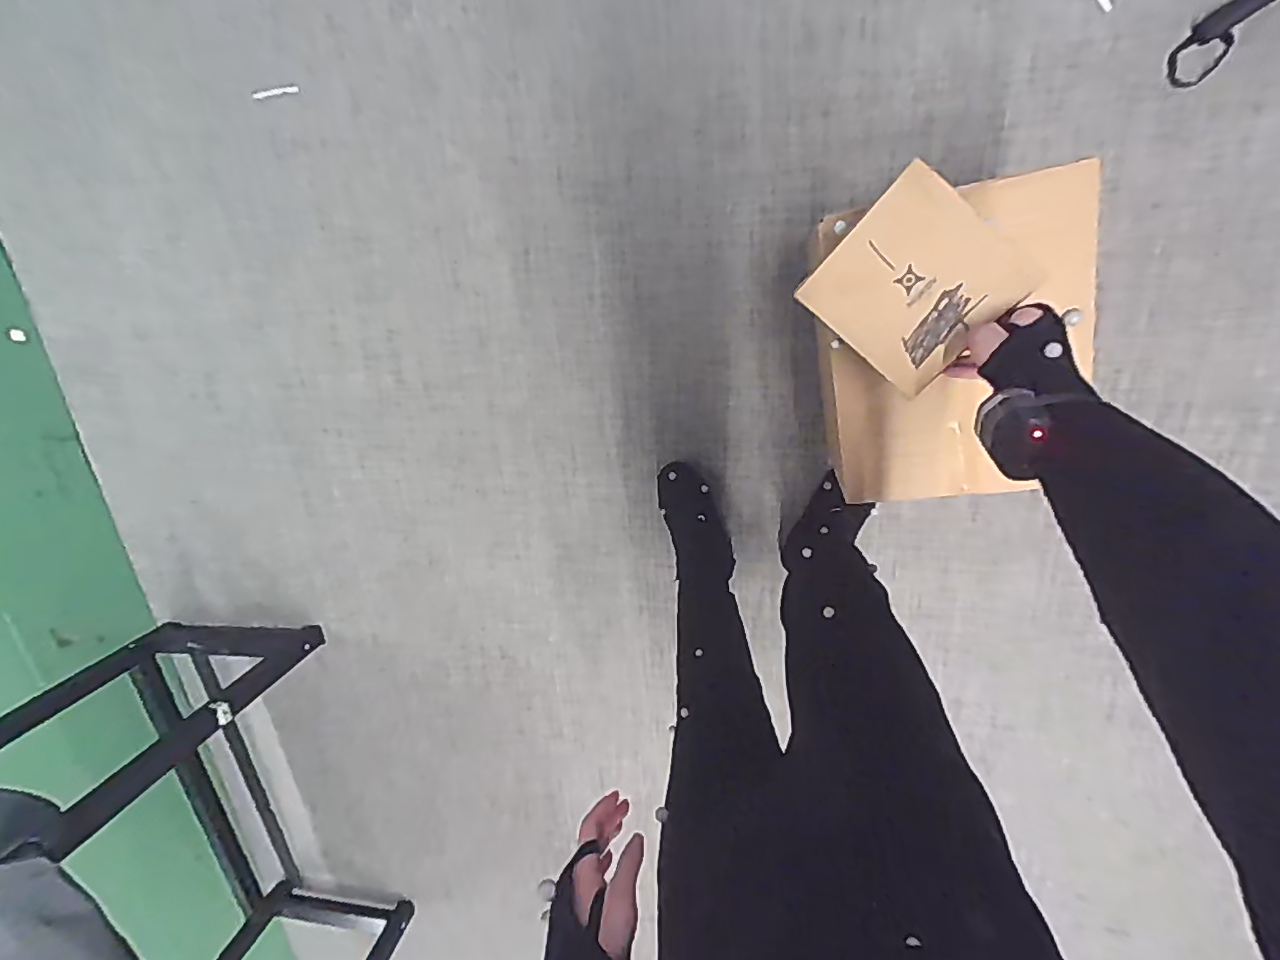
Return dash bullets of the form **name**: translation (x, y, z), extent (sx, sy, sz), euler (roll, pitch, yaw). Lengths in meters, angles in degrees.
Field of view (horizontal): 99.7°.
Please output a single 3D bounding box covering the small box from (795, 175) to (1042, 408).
- **small box**: translation (0.303, -0.214, 0.631), extent (0.179, 0.176, 0.168), euler (42, 114, 0)
